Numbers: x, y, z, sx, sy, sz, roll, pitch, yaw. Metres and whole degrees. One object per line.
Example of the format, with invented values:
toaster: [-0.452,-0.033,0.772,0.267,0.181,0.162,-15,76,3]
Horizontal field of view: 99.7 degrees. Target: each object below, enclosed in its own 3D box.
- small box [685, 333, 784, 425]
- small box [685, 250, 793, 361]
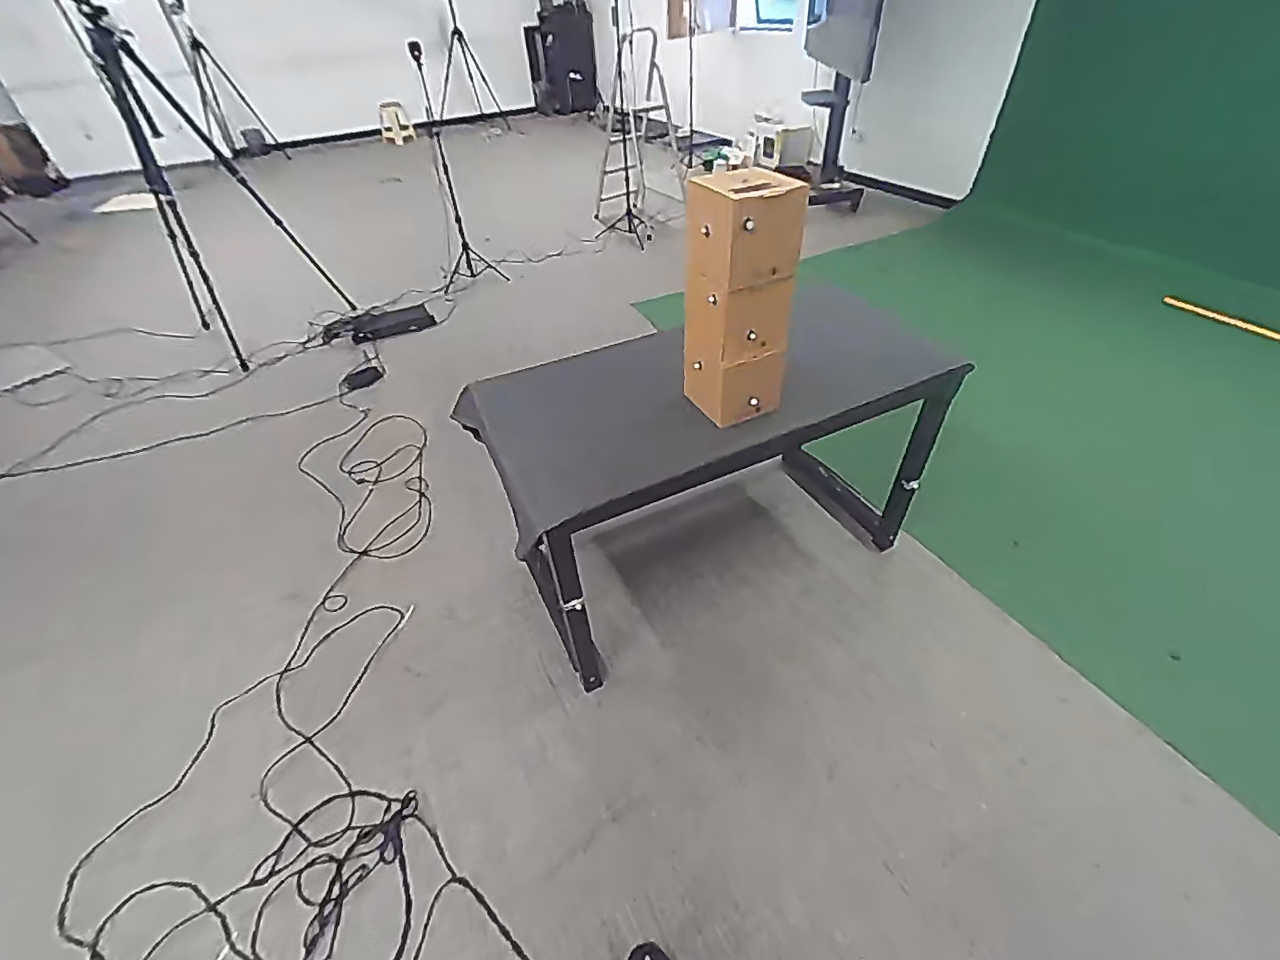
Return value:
small box: [0.217,-0.259,1.291,0.168,0.176,0.179,-20,45,-17]
small box: [0.207,-0.385,1.190,0.168,0.176,0.179,-19,44,-17]
